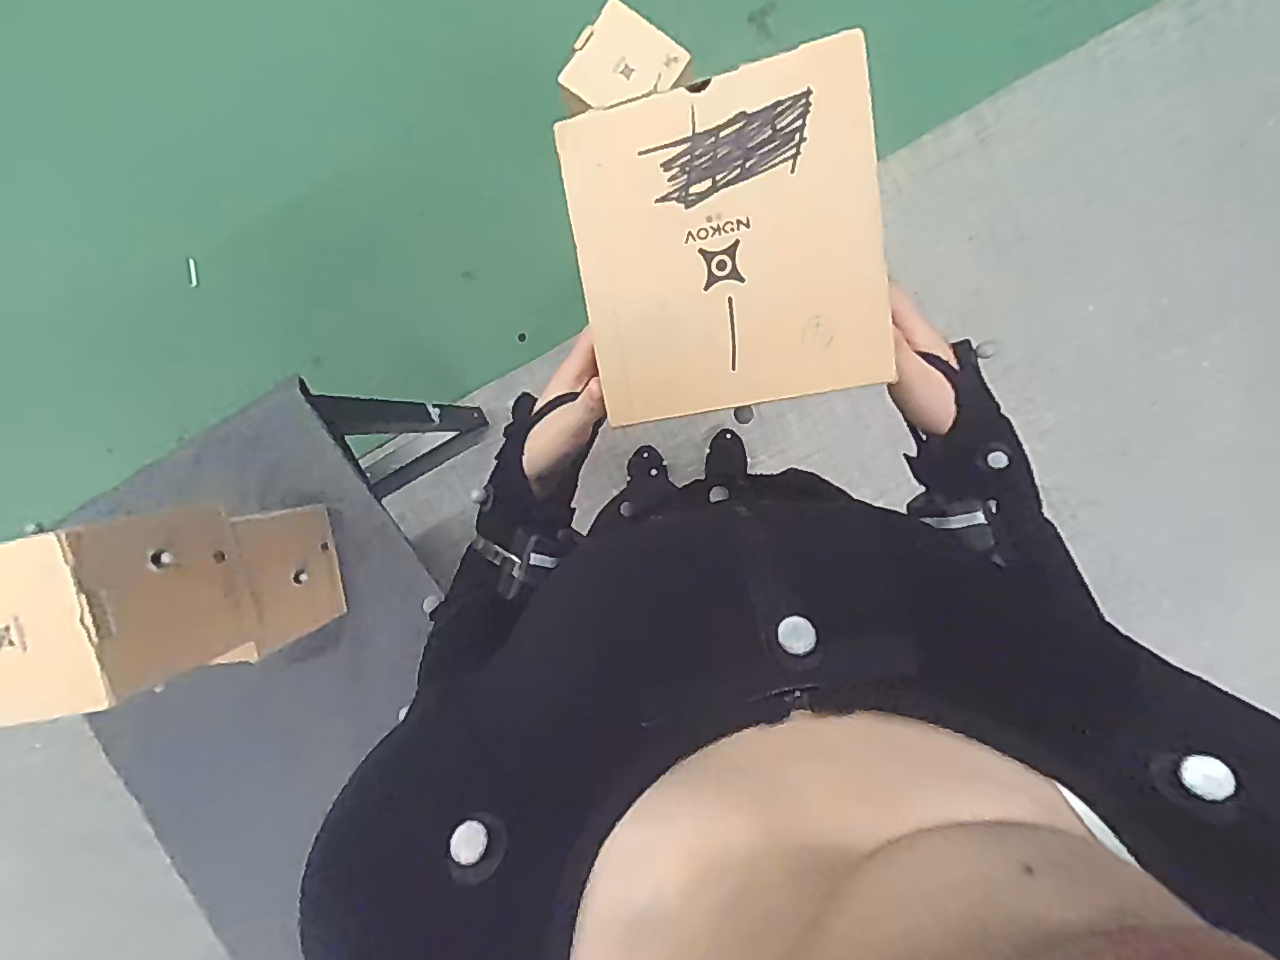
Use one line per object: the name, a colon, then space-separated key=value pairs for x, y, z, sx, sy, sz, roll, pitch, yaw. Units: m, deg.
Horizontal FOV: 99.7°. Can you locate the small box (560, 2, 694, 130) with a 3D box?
small box: x=-0.017 y=-0.707 z=1.007 sx=0.179 sy=0.176 sz=0.168 roll=37 pitch=98 yaw=1

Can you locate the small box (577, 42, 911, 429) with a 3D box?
small box: x=0.071 y=-0.136 z=0.372 sx=0.168 sy=0.176 sz=0.179 roll=-7 pitch=99 yaw=14

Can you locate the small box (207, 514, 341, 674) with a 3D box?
small box: x=-0.531 y=0.145 z=0.722 sx=0.179 sy=0.176 sz=0.168 roll=-8 pitch=95 yaw=8

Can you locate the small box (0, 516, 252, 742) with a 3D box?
small box: x=-0.546 y=0.141 z=0.559 sx=0.179 sy=0.176 sz=0.168 roll=-13 pitch=93 yaw=8
